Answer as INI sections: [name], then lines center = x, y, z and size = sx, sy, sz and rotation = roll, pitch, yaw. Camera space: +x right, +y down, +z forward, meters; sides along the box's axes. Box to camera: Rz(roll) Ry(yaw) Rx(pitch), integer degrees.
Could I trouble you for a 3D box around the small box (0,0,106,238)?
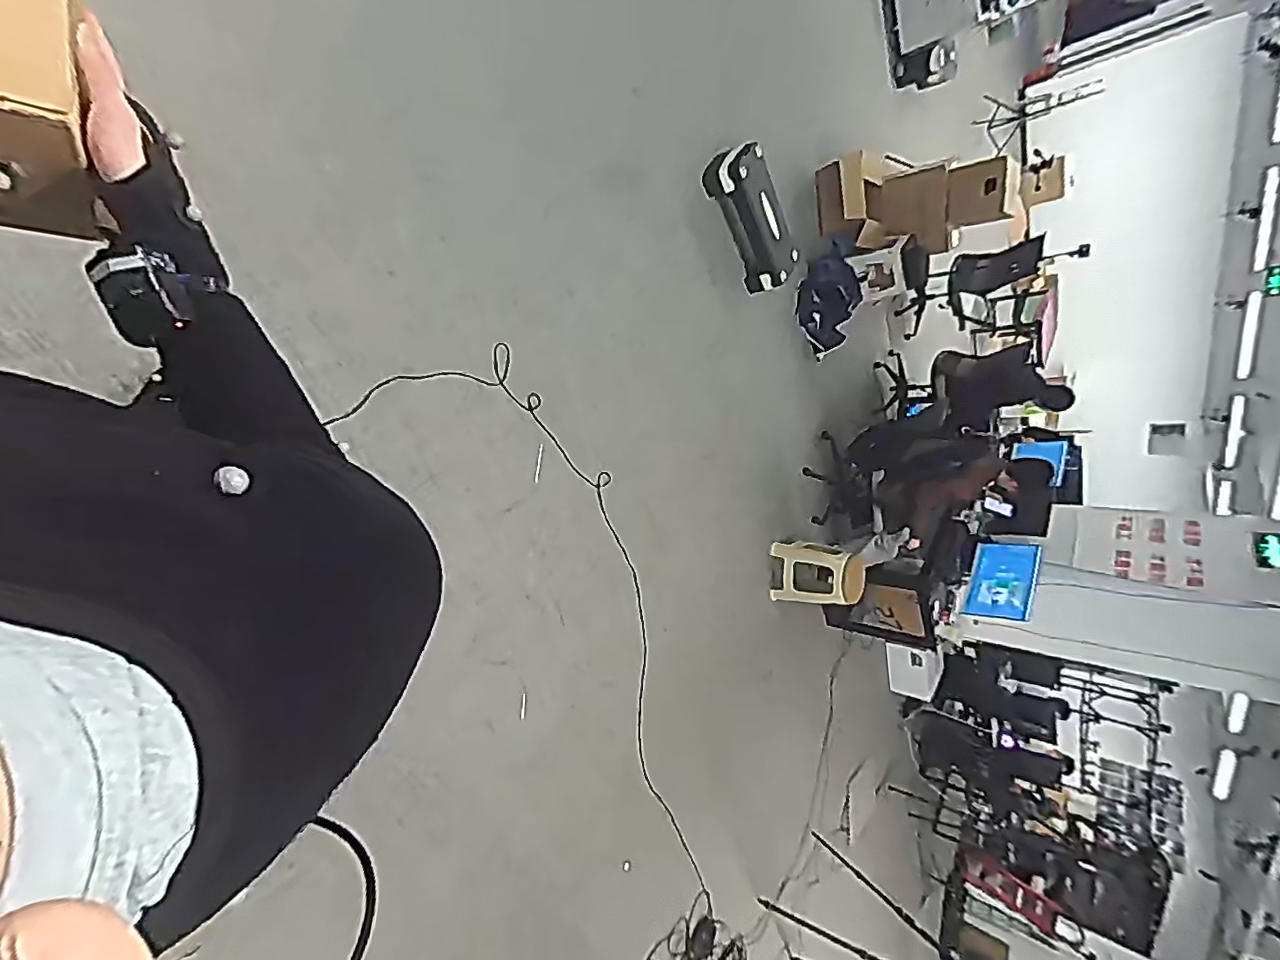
[small box]
center = -0.487, -0.299, 0.368
size = 0.168, 0.176, 0.179
rotation = -3, 81, -42
